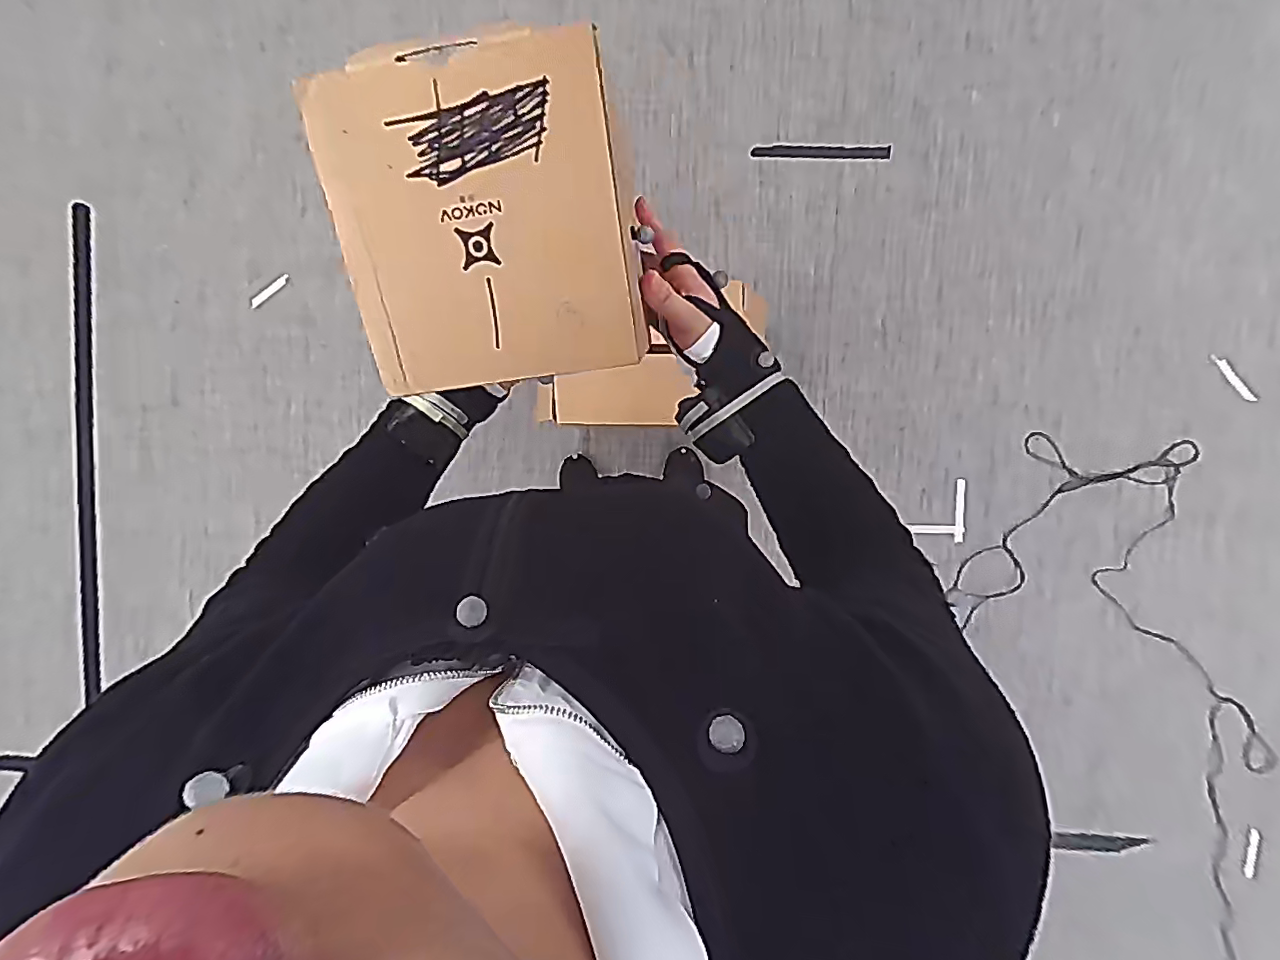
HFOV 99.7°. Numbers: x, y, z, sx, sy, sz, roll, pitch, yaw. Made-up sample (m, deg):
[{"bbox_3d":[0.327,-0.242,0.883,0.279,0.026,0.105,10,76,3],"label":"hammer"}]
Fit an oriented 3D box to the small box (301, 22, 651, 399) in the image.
[{"bbox_3d":[-0.084,-0.164,0.378,0.168,0.176,0.179,-7,108,5],"label":"small box"}]
